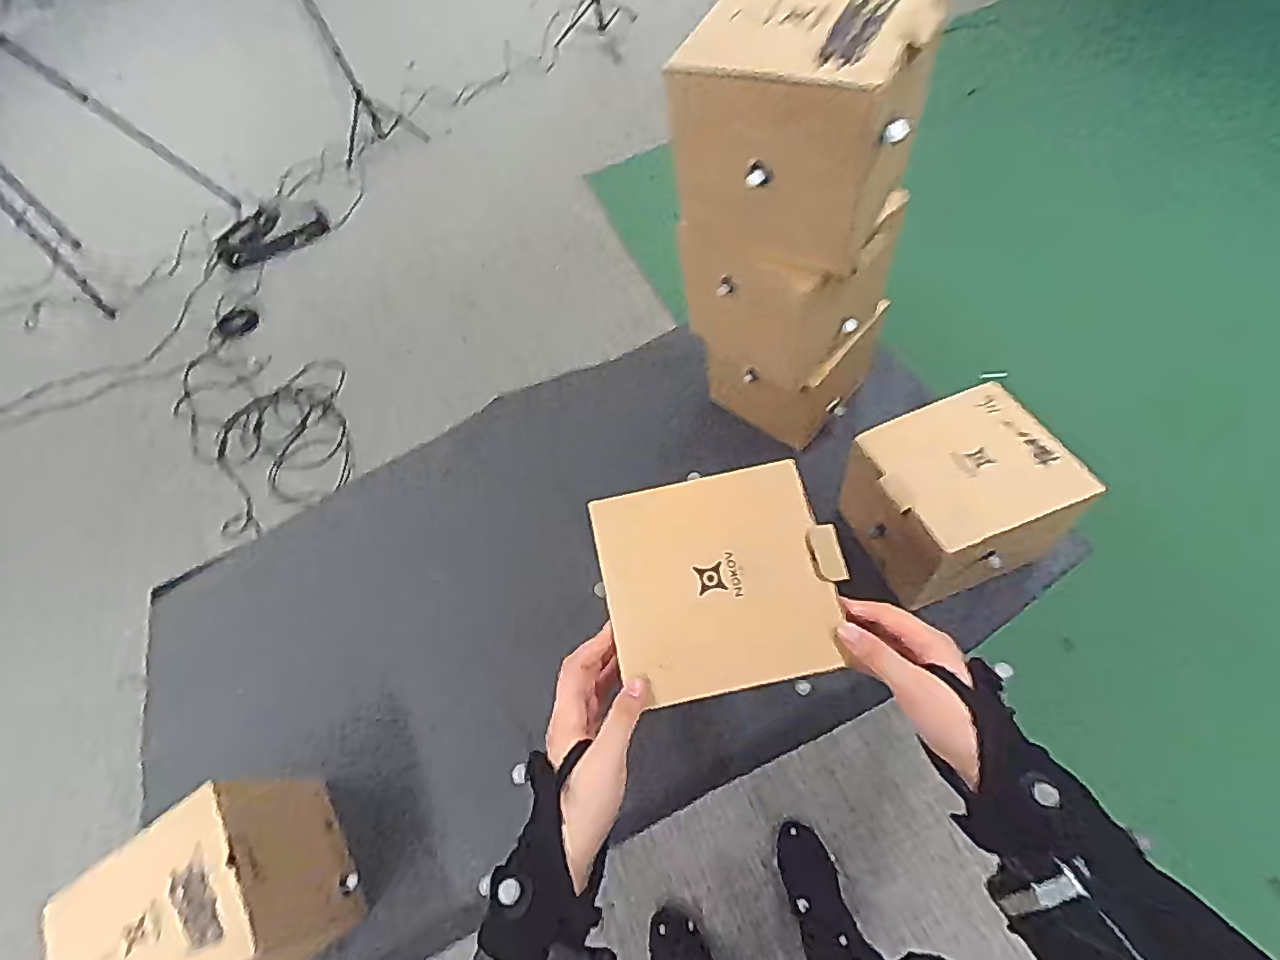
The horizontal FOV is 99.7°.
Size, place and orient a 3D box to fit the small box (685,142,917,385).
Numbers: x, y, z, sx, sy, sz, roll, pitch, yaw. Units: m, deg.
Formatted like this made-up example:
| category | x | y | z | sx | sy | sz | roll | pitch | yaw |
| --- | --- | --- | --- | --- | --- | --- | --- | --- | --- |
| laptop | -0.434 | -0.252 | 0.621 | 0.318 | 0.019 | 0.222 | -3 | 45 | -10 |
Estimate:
| category | x | y | z | sx | sy | sz | roll | pitch | yaw |
| --- | --- | --- | --- | --- | --- | --- | --- | --- | --- |
| small box | 0.176 | -0.243 | 0.629 | 0.168 | 0.176 | 0.179 | -44 | 63 | -10 |

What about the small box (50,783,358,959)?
| category | x | y | z | sx | sy | sz | roll | pitch | yaw |
| --- | --- | --- | --- | --- | --- | --- | --- | --- | --- |
| small box | -0.425 | 0.438 | 0.555 | 0.179 | 0.176 | 0.168 | -36 | 62 | -10 |

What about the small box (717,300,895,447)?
| category | x | y | z | sx | sy | sz | roll | pitch | yaw |
| --- | --- | --- | --- | --- | --- | --- | --- | --- | --- |
| small box | 0.223 | -0.177 | 0.774 | 0.179 | 0.176 | 0.168 | 38 | 76 | 24 |

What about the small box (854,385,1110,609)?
| category | x | y | z | sx | sy | sz | roll | pitch | yaw |
| --- | --- | --- | --- | --- | --- | --- | --- | --- | --- |
| small box | 0.368 | 0.028 | 0.630 | 0.179 | 0.176 | 0.168 | -22 | 56 | -1 |

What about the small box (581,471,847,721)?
| category | x | y | z | sx | sy | sz | roll | pitch | yaw |
| --- | --- | --- | --- | --- | --- | --- | --- | --- | --- |
| small box | 0.056 | 0.112 | 0.495 | 0.179 | 0.176 | 0.168 | -13 | 70 | -2 |
